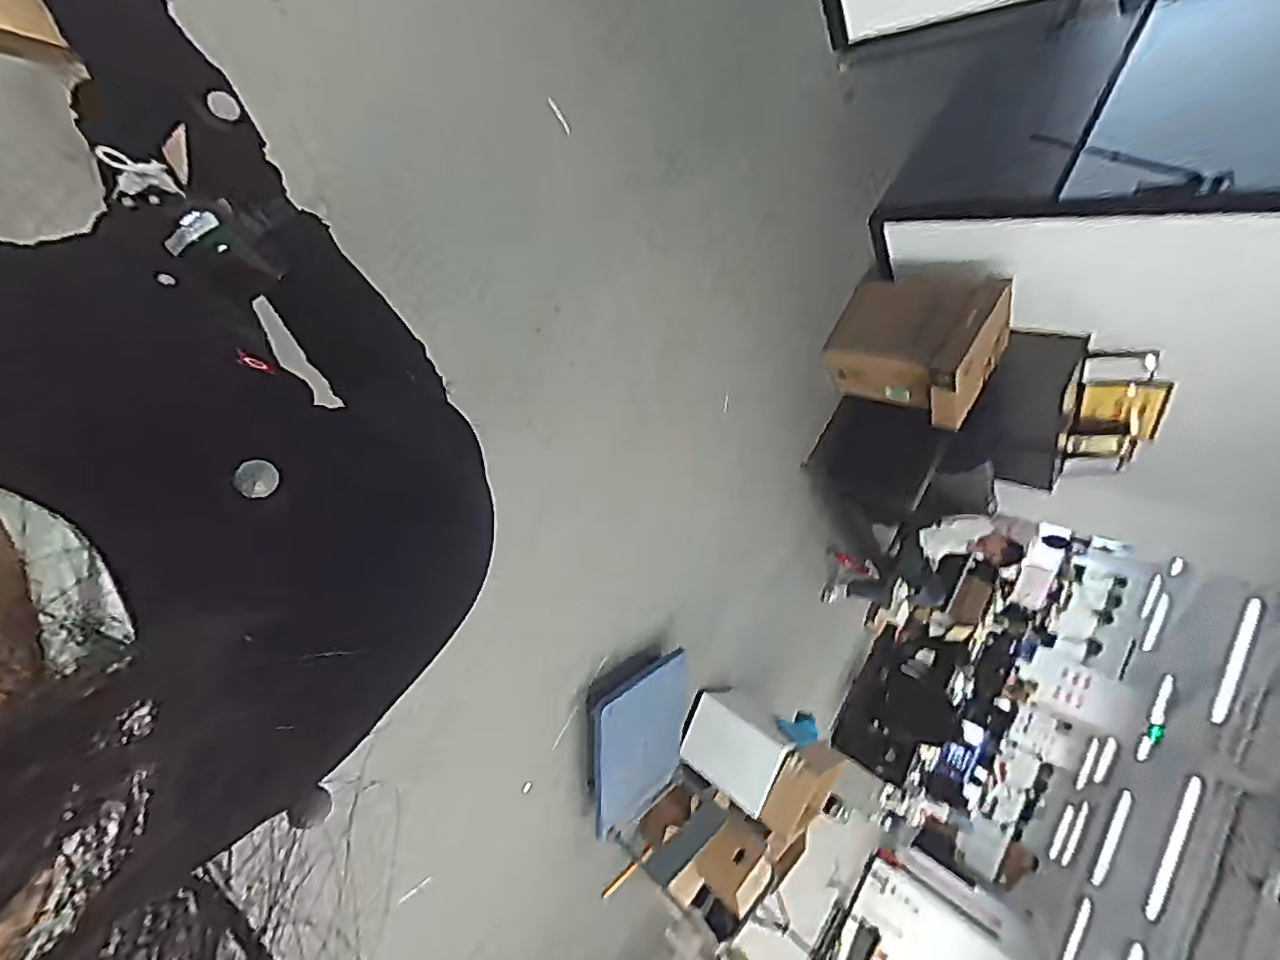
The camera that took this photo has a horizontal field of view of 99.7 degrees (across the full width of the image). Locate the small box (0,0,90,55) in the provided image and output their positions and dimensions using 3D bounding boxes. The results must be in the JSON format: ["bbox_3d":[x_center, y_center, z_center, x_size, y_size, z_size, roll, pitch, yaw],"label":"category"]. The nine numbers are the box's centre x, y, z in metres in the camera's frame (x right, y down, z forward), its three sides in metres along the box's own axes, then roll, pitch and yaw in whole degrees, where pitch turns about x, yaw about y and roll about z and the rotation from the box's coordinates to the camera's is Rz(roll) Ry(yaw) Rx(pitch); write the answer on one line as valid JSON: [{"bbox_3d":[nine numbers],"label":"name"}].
[{"bbox_3d":[-0.441,-0.355,0.286,0.179,0.176,0.168,-15,123,-47],"label":"small box"}]
